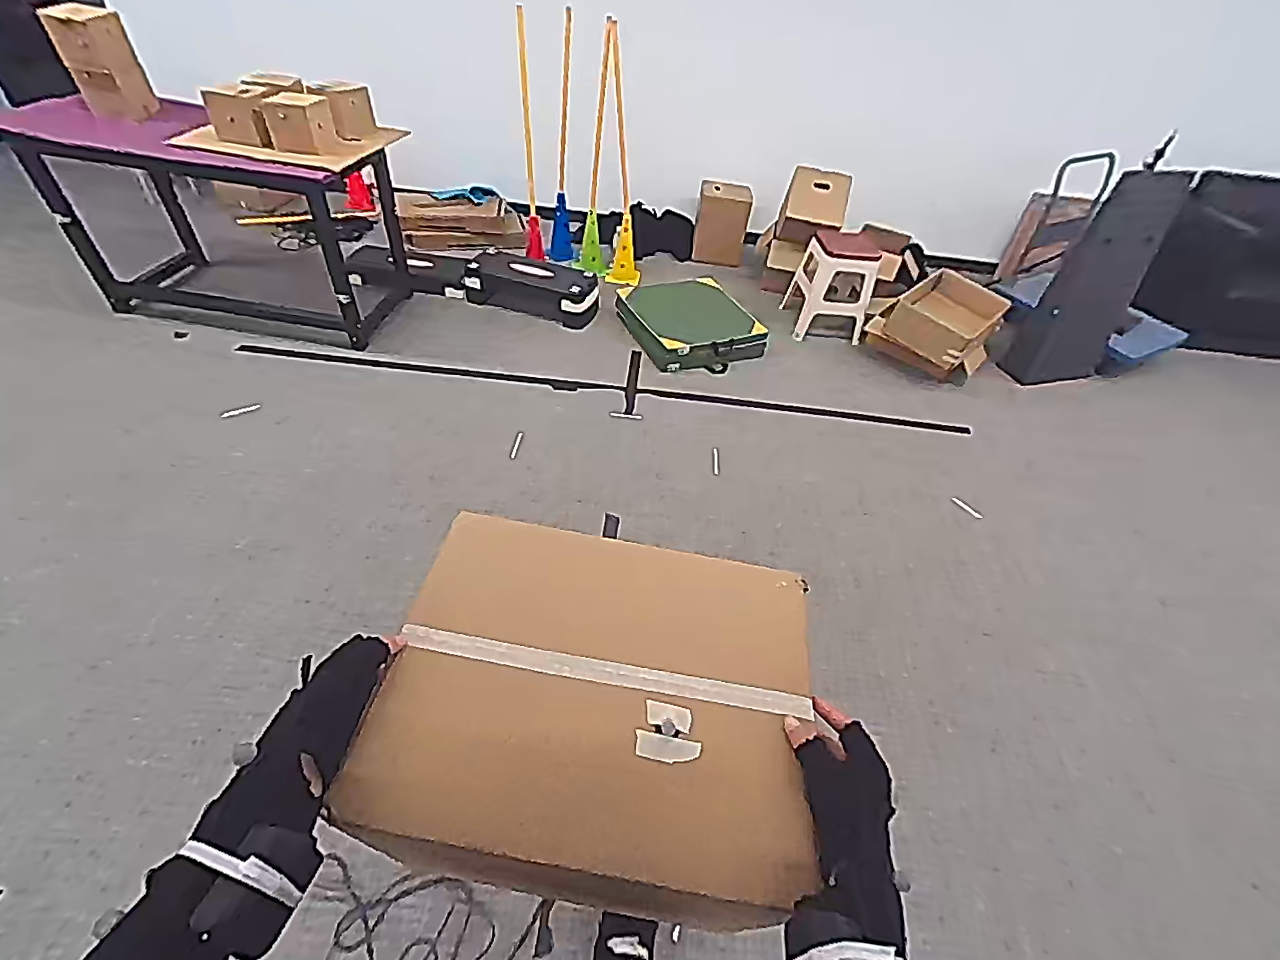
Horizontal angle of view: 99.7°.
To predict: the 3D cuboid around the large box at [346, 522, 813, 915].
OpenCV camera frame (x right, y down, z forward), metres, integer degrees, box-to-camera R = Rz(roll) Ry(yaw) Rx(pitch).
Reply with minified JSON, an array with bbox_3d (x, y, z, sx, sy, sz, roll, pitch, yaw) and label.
[{"bbox_3d":[-0.049,0.291,0.654,0.408,0.320,0.320,11,49,1],"label":"large box"}]
